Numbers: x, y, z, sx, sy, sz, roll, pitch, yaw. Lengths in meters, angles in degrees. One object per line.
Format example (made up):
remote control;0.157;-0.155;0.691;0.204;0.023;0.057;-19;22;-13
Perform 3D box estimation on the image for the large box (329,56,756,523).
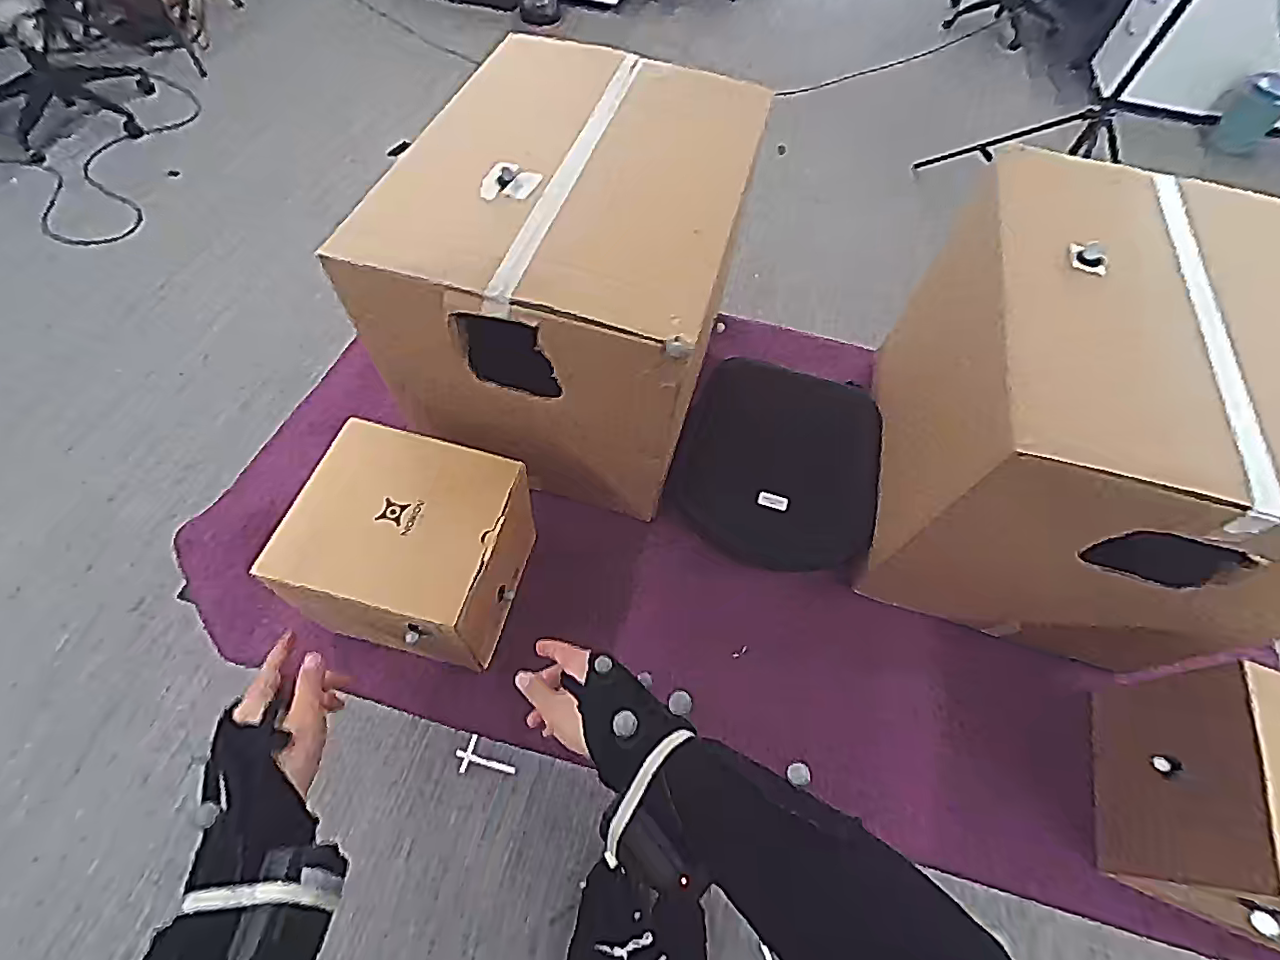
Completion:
large box;-0.073;-0.217;0.656;0.320;0.320;0.408;15;62;5
